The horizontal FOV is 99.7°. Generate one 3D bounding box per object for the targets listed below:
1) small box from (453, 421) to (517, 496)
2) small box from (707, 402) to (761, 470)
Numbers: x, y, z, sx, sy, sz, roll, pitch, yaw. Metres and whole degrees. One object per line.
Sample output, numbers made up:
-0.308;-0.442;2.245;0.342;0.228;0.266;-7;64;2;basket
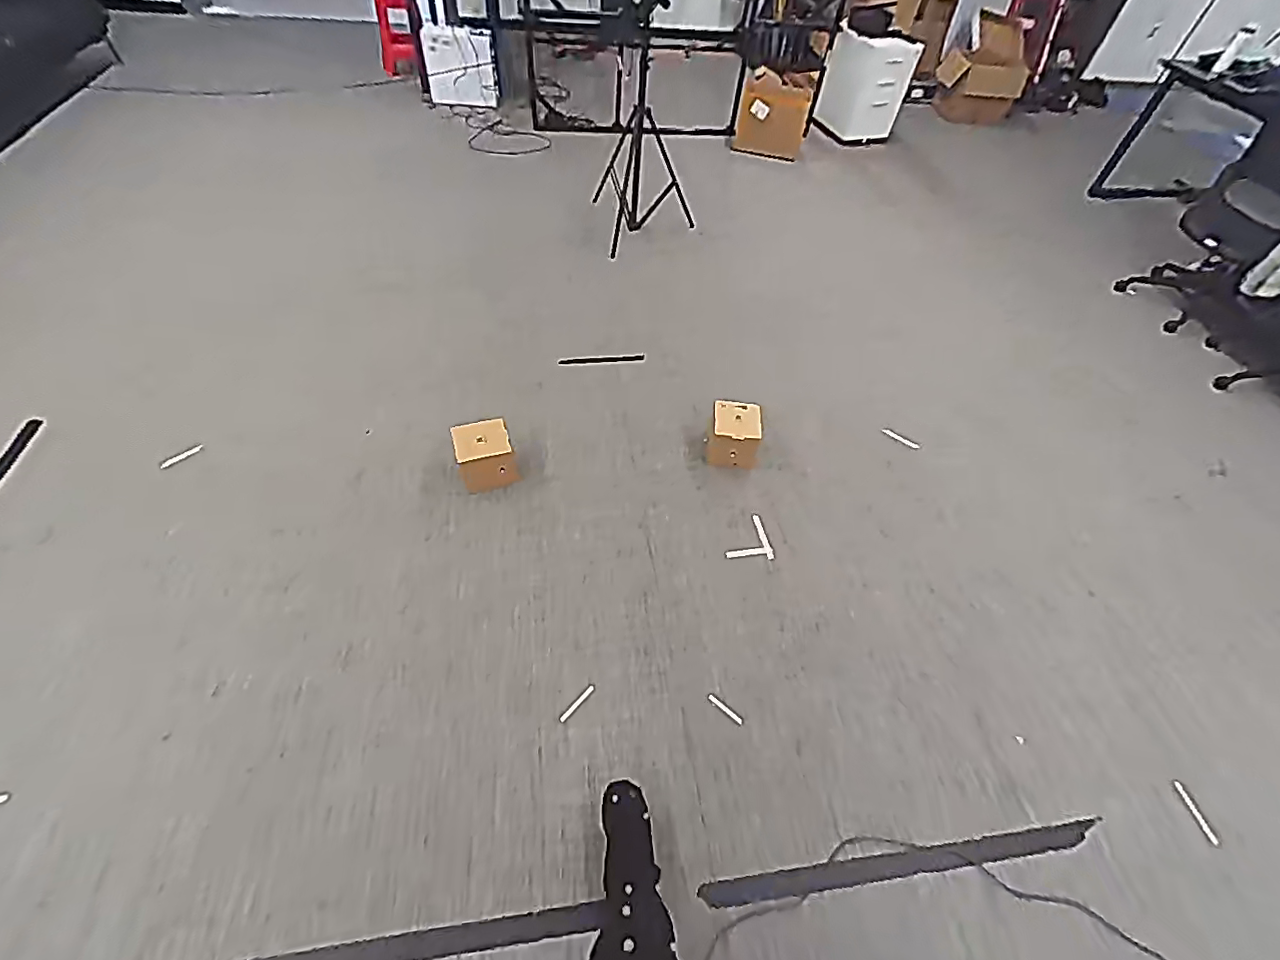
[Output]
-0.519;-0.072;1.829;0.179;0.176;0.168;-15;53;-15;small box
0.340;-0.156;1.974;0.168;0.176;0.179;7;52;0;small box
